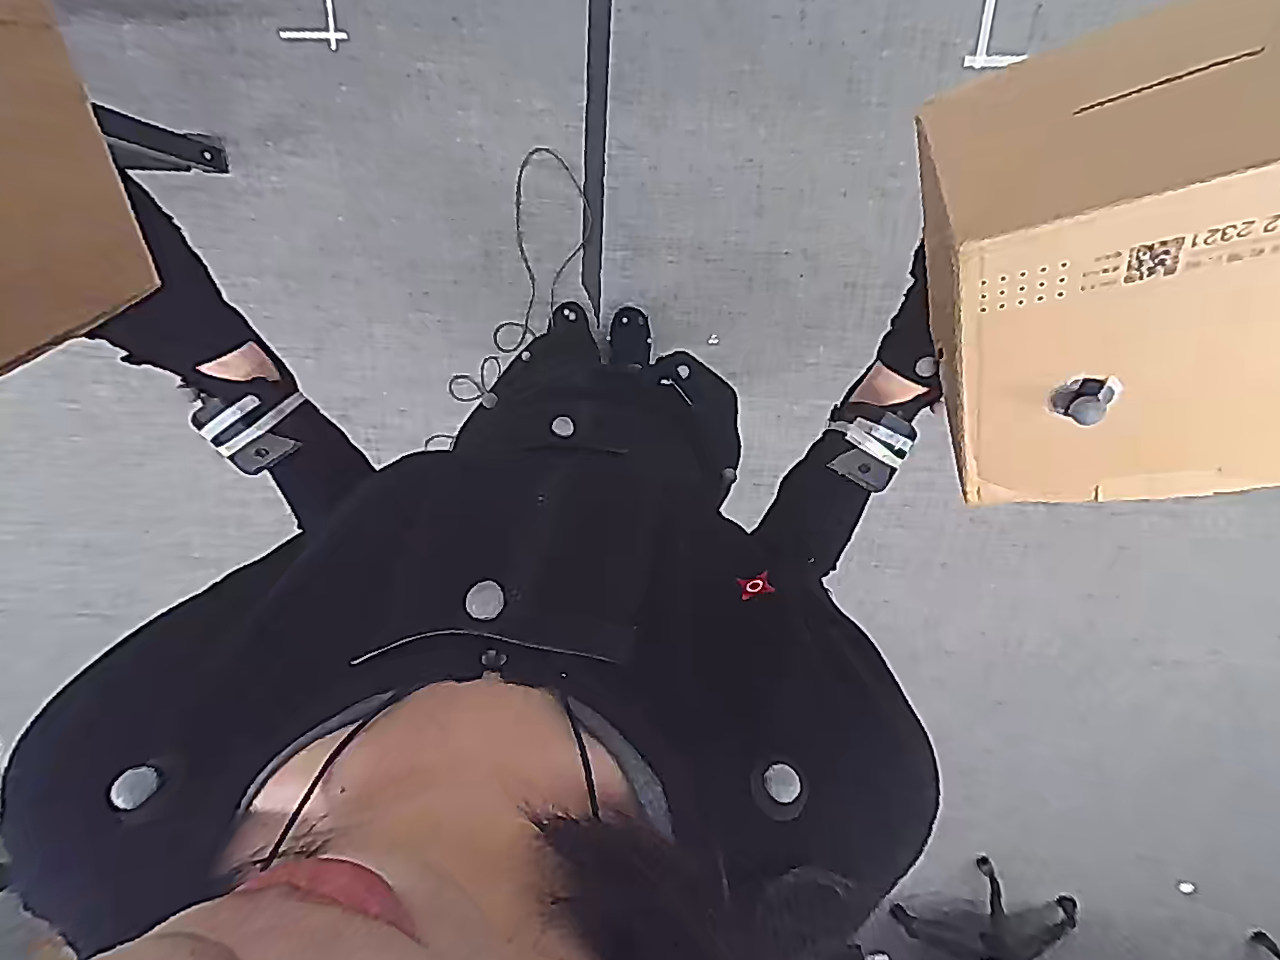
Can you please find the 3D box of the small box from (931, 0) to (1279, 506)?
[{"bbox_3d":[0.244,-0.111,0.264,0.168,0.179,0.176,-6,137,26],"label":"small box"}]

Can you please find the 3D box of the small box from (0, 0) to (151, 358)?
[{"bbox_3d":[-0.382,-0.151,0.228,0.168,0.179,0.176,4,127,-8],"label":"small box"}]
